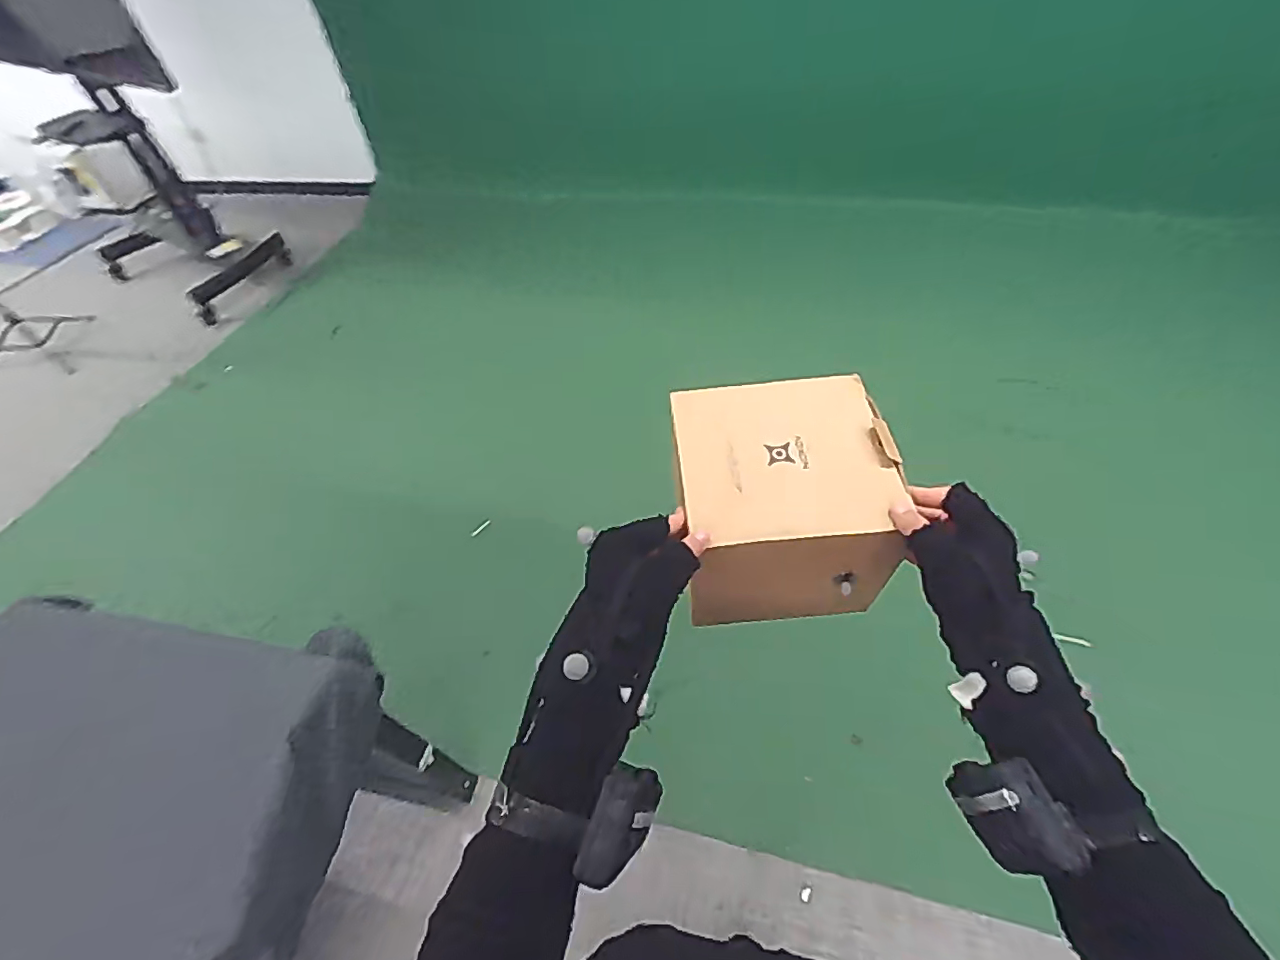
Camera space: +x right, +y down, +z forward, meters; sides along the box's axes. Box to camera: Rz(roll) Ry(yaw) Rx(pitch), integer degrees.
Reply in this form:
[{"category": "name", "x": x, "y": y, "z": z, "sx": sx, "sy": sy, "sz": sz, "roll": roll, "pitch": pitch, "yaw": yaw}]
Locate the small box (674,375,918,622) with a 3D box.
[{"category": "small box", "x": 0.128, "y": 0.025, "z": 0.520, "sx": 0.179, "sy": 0.176, "sz": 0.168, "roll": -7, "pitch": 54, "yaw": 3}]
